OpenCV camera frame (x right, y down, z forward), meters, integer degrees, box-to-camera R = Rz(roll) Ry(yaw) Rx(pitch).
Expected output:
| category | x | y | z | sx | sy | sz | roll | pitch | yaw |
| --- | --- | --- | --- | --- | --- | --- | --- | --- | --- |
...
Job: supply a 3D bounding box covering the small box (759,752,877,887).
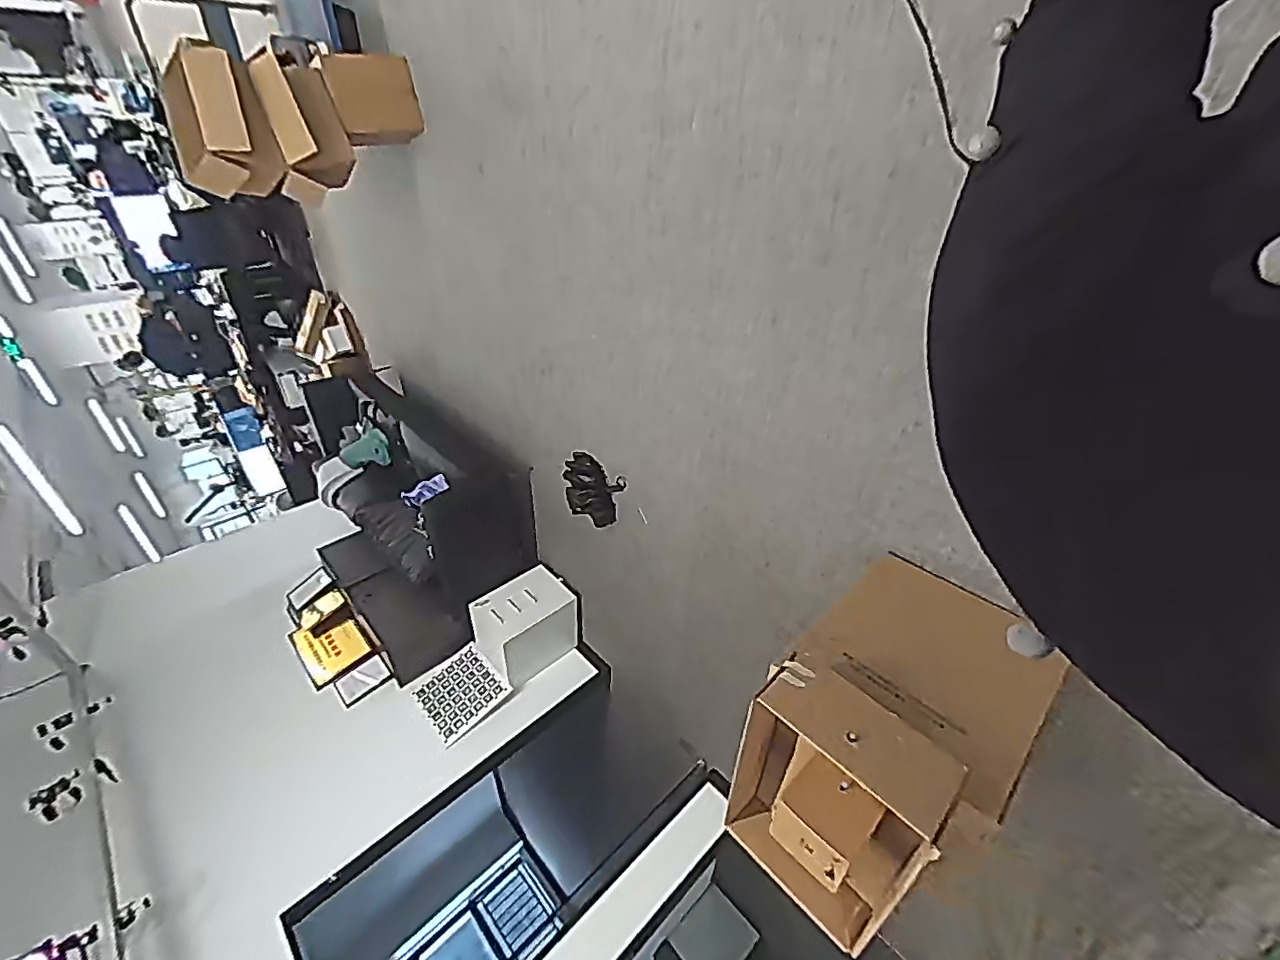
| category | x | y | z | sx | sy | sz | roll | pitch | yaw |
| --- | --- | --- | --- | --- | --- | --- | --- | --- | --- |
| small box | 0.399 | 0.755 | 1.226 | 0.179 | 0.176 | 0.168 | 32 | 136 | 38 |
